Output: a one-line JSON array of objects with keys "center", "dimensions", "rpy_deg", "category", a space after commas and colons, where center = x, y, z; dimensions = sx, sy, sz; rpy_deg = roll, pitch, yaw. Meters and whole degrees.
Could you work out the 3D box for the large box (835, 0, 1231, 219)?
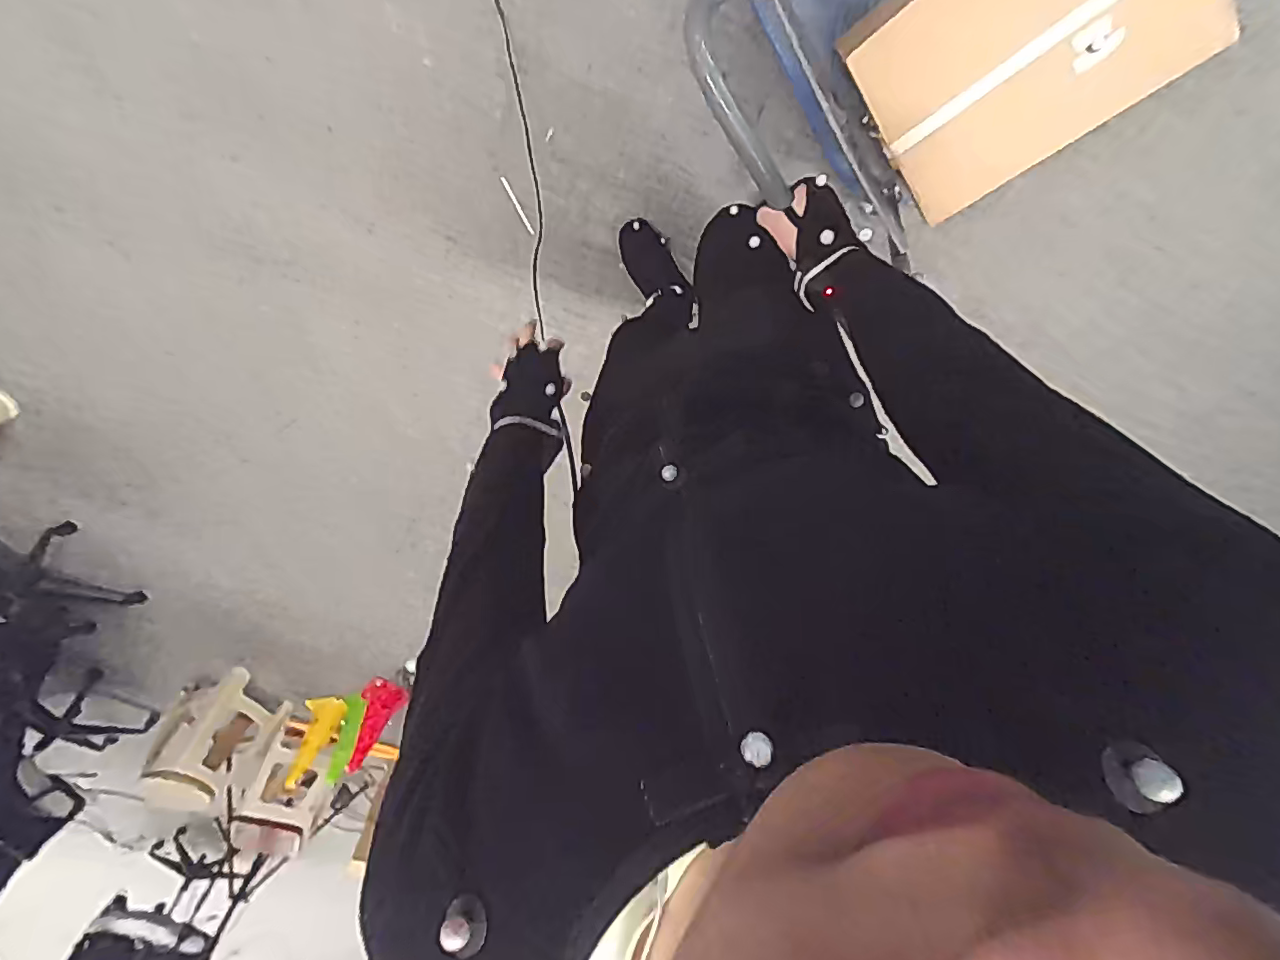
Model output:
[{"center": [0.583, -0.722, 0.881], "dimensions": [0.408, 0.320, 0.320], "rpy_deg": [-26, 120, 33], "category": "large box"}]
